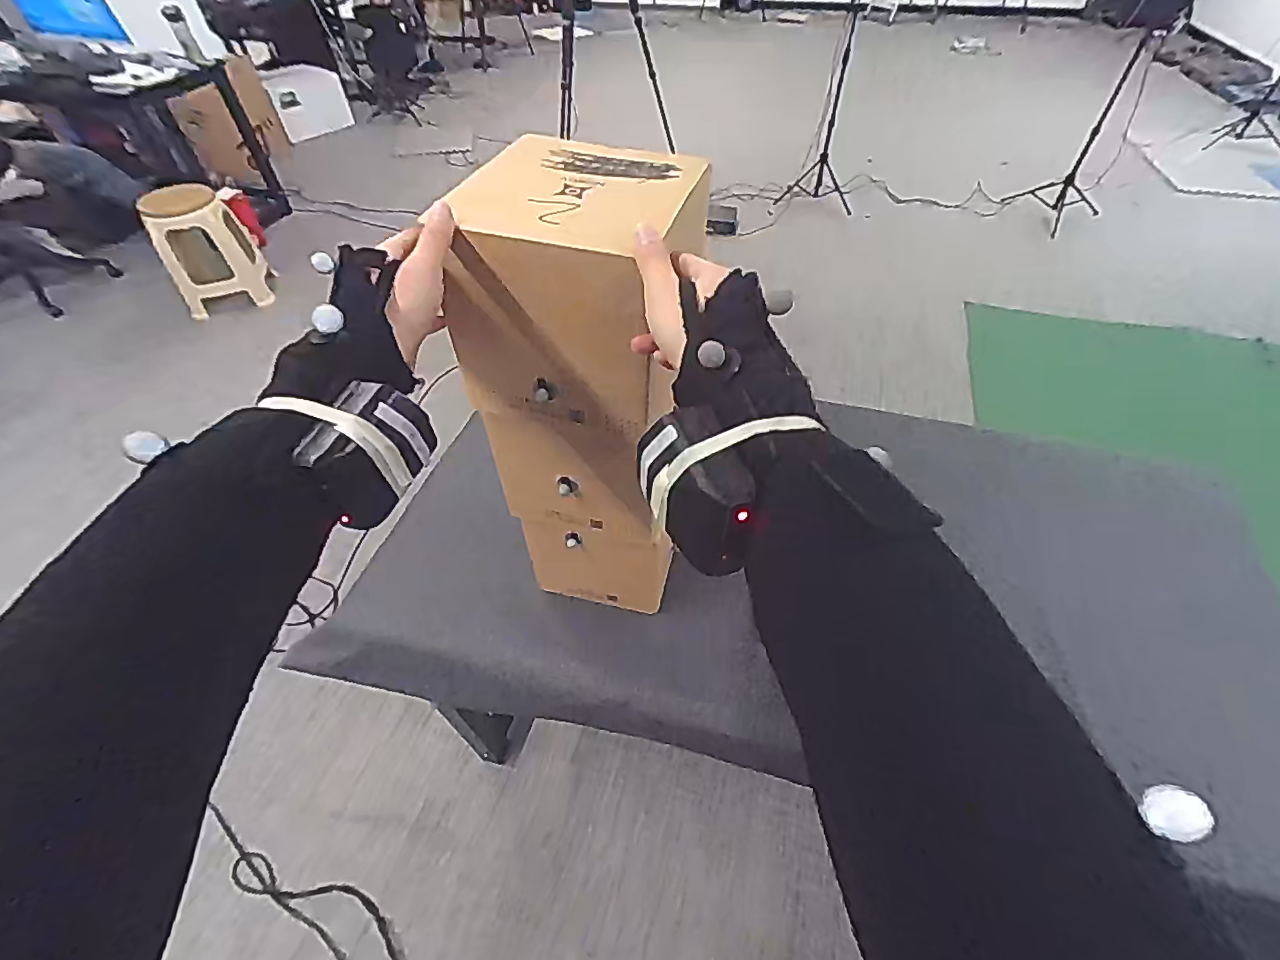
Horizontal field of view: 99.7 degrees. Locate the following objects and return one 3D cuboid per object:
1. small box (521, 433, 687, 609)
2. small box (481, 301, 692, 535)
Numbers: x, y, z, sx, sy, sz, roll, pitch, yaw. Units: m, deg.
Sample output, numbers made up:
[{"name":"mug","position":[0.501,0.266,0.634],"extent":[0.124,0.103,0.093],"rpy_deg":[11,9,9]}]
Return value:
[{"name":"small box","position":[-0.040,0.041,0.716],"extent":[0.168,0.176,0.179],"rpy_deg":[11,49,9]},{"name":"small box","position":[-0.046,-0.065,0.588],"extent":[0.168,0.176,0.179],"rpy_deg":[13,50,9]}]
